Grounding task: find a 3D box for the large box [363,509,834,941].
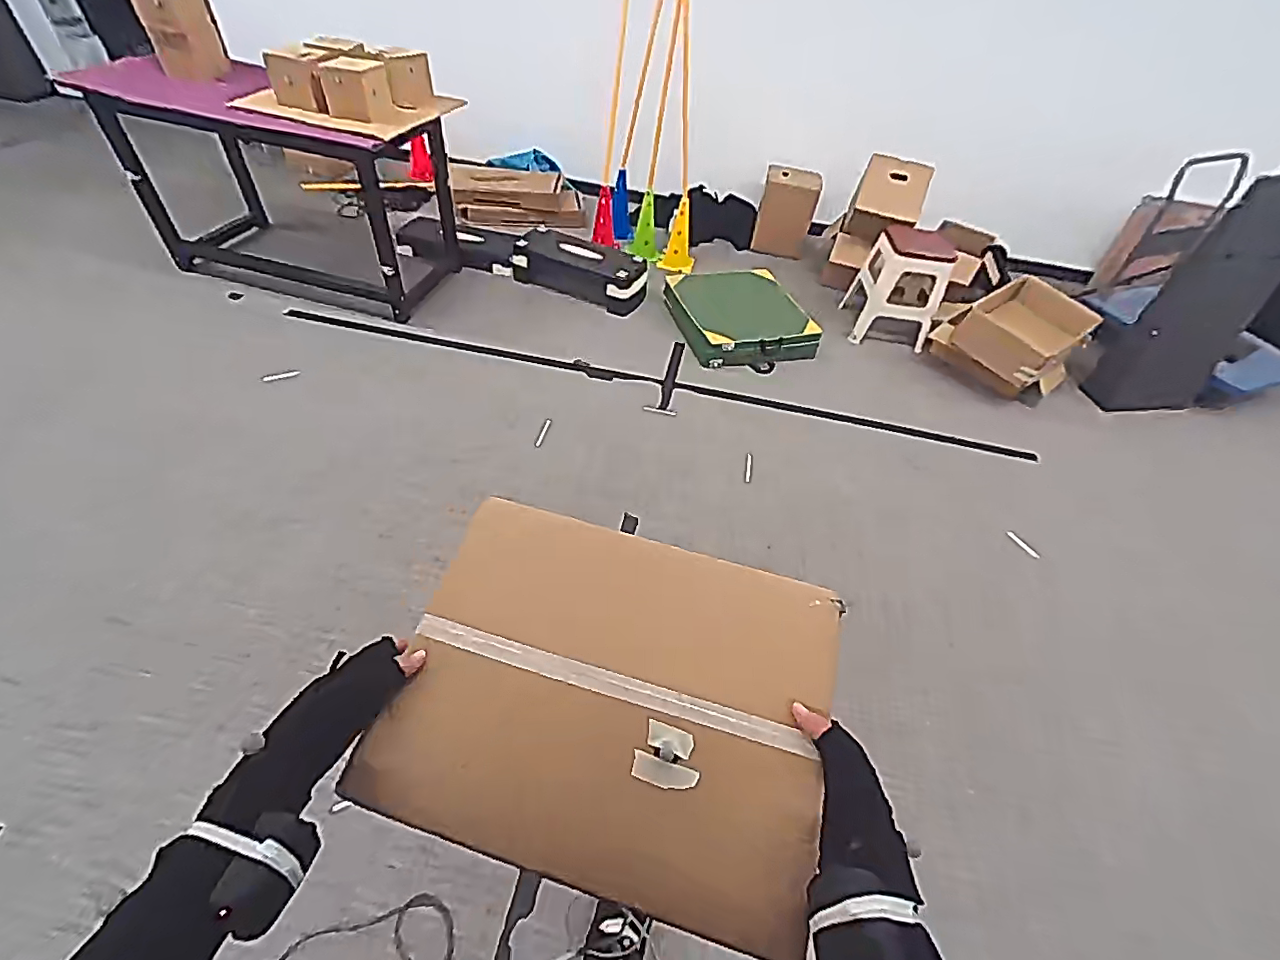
[{"bbox_3d":[-0.024,0.281,0.661,0.408,0.320,0.320,15,59,8],"label":"large box"}]
